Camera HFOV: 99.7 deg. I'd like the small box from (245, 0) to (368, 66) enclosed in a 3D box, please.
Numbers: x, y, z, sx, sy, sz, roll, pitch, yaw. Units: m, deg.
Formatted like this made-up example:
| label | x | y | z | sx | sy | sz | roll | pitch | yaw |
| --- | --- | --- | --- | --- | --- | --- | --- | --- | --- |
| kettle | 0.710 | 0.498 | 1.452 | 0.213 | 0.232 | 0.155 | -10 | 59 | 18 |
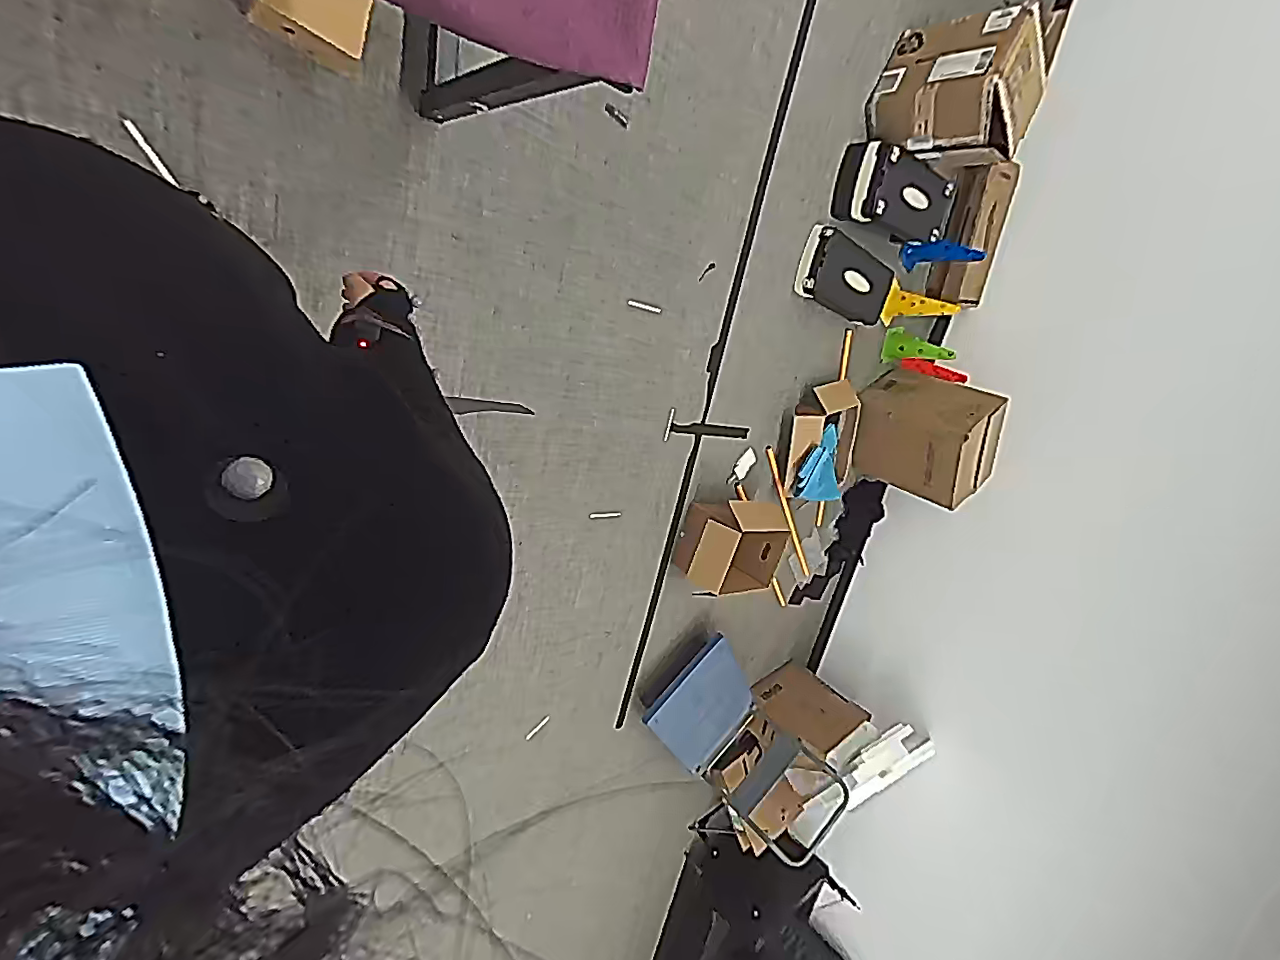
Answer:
| label | x | y | z | sx | sy | sz | roll | pitch | yaw |
| --- | --- | --- | --- | --- | --- | --- | --- | --- | --- |
| small box | -0.623 | -0.925 | 1.015 | 0.168 | 0.176 | 0.179 | 9 | 104 | -45 |
